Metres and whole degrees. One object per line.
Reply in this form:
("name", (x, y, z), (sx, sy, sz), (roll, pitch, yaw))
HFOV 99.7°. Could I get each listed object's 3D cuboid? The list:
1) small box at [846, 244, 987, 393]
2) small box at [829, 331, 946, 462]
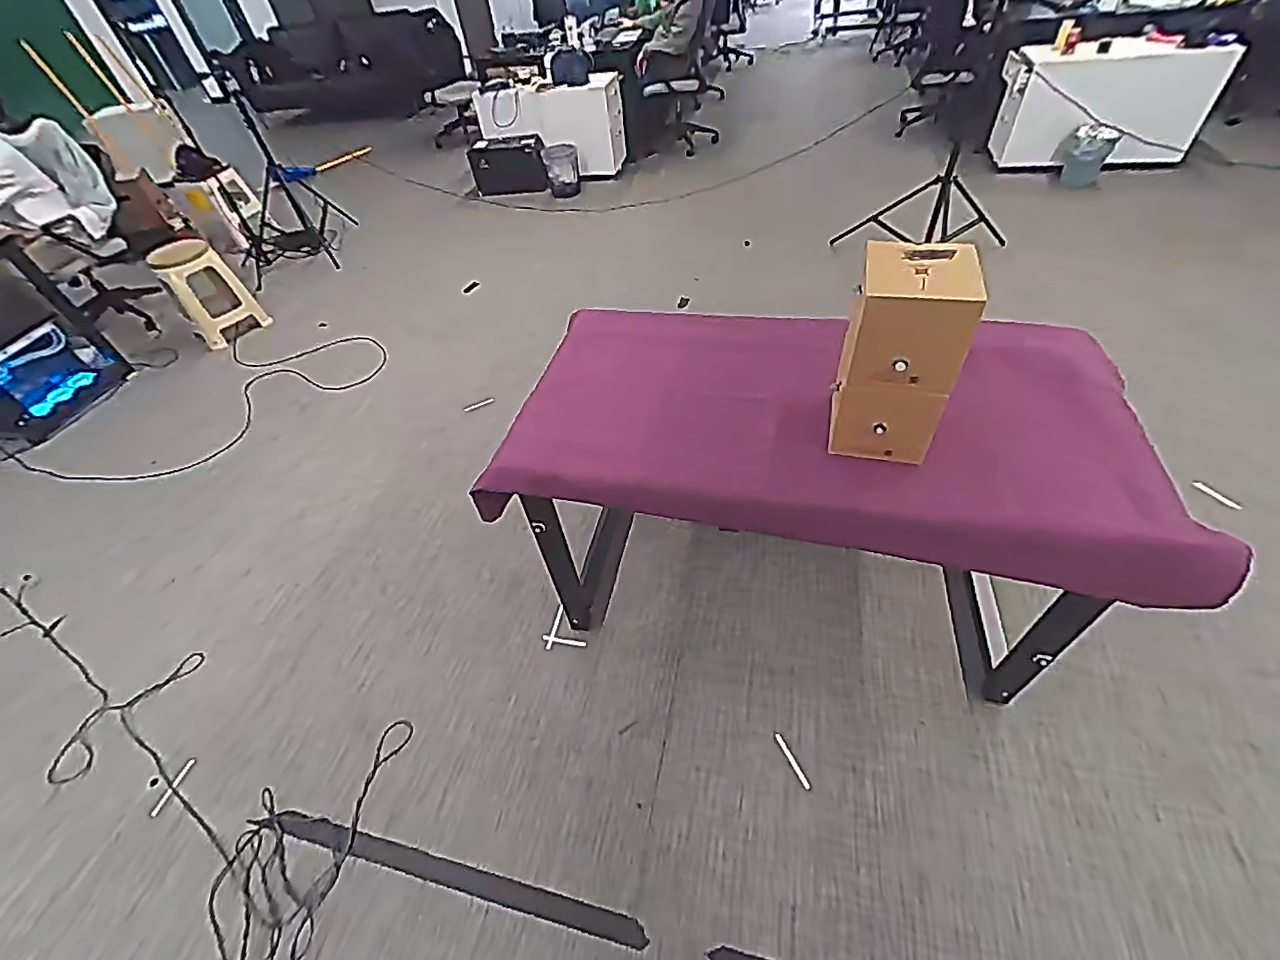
("small box", (0.444, -0.269, 0.896), (0.168, 0.176, 0.179), (8, 50, 15))
("small box", (0.455, -0.155, 1.015), (0.168, 0.176, 0.179), (9, 49, 15))
